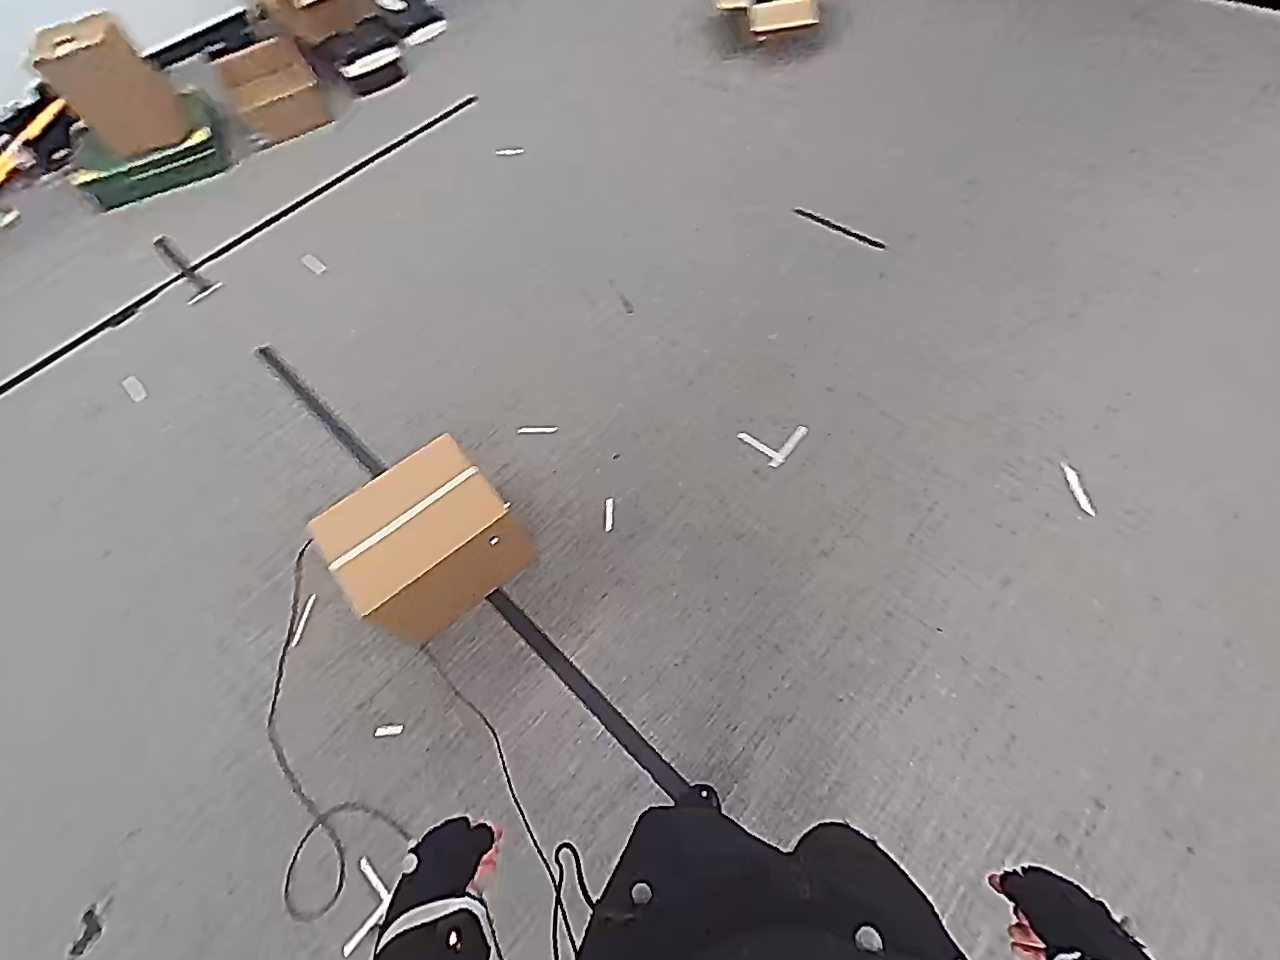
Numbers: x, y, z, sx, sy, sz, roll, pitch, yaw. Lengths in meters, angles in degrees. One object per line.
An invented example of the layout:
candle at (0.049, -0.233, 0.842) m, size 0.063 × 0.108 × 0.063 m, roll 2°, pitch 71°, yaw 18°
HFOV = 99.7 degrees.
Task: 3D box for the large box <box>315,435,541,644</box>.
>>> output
large box at (-0.538, 0.163, 1.438) m, size 0.408 × 0.320 × 0.320 m, roll -37°, pitch 65°, yaw -15°
